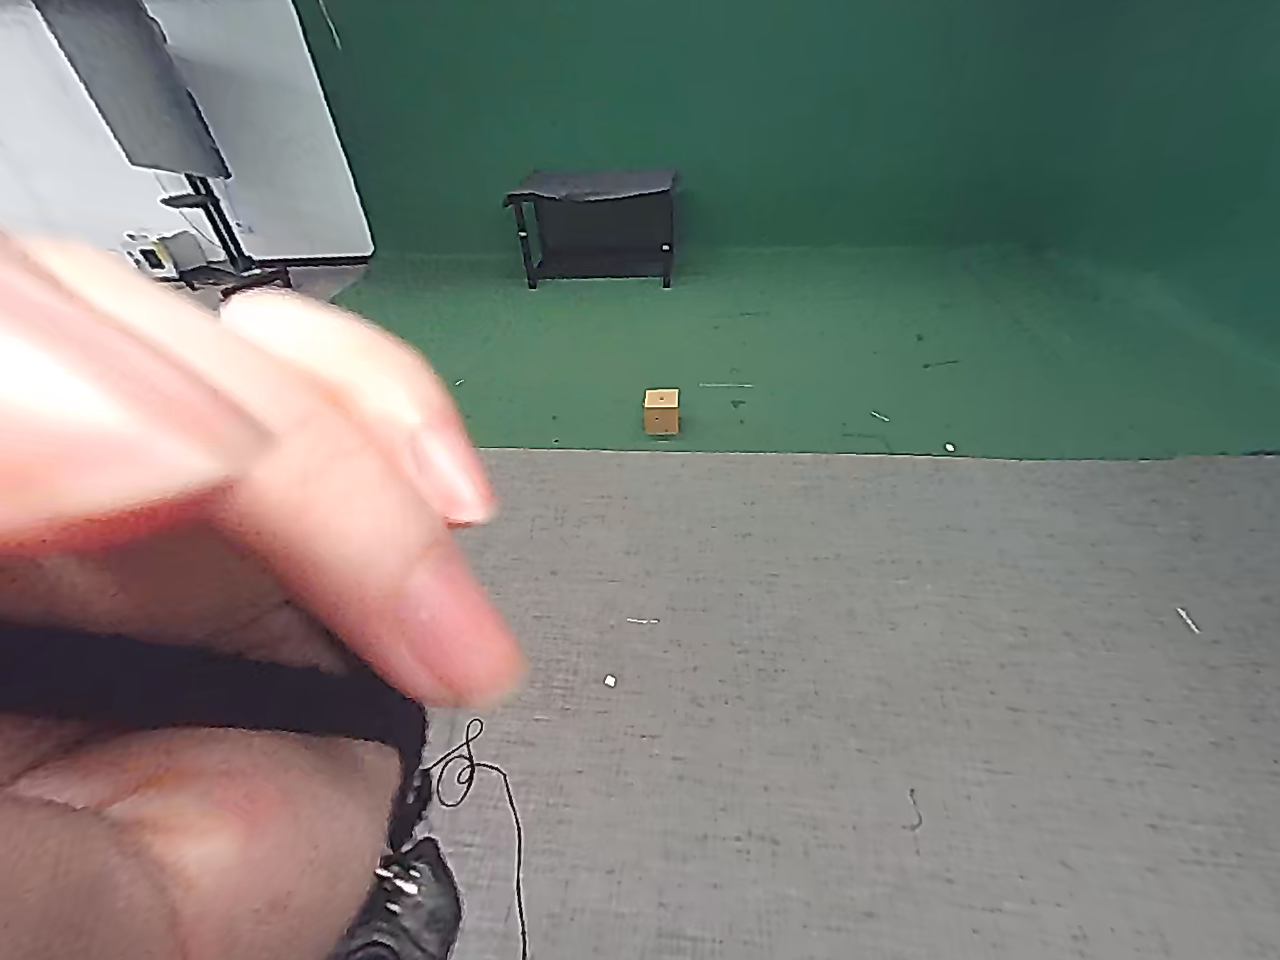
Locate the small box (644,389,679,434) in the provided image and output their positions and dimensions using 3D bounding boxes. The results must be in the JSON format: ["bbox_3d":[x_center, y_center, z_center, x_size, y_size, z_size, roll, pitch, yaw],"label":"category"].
[{"bbox_3d":[0.113,-0.343,2.739,0.168,0.176,0.179,-1,38,5],"label":"small box"}]
